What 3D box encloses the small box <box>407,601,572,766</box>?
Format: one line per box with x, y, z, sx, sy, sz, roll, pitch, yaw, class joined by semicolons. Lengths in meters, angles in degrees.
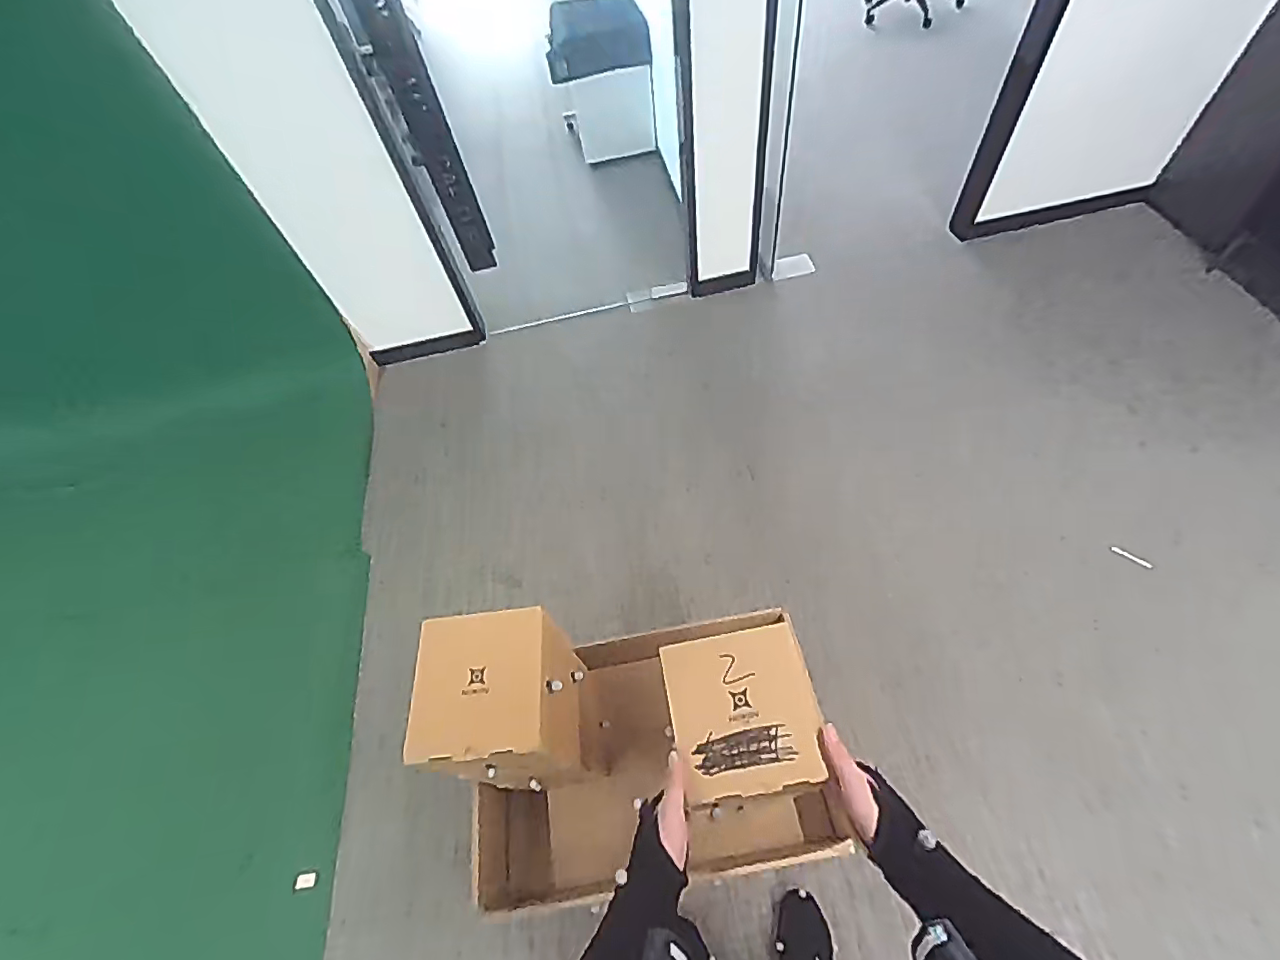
-0.192;0.284;0.745;0.168;0.176;0.179;-7;58;3;small box

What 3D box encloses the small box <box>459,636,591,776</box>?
-0.177;0.372;0.881;0.168;0.176;0.179;-8;57;3;small box

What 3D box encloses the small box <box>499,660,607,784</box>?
-0.160;0.459;1.018;0.168;0.176;0.179;-10;57;1;small box

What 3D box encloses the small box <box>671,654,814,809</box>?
0.145;0.388;0.827;0.168;0.176;0.179;-12;57;0;small box
